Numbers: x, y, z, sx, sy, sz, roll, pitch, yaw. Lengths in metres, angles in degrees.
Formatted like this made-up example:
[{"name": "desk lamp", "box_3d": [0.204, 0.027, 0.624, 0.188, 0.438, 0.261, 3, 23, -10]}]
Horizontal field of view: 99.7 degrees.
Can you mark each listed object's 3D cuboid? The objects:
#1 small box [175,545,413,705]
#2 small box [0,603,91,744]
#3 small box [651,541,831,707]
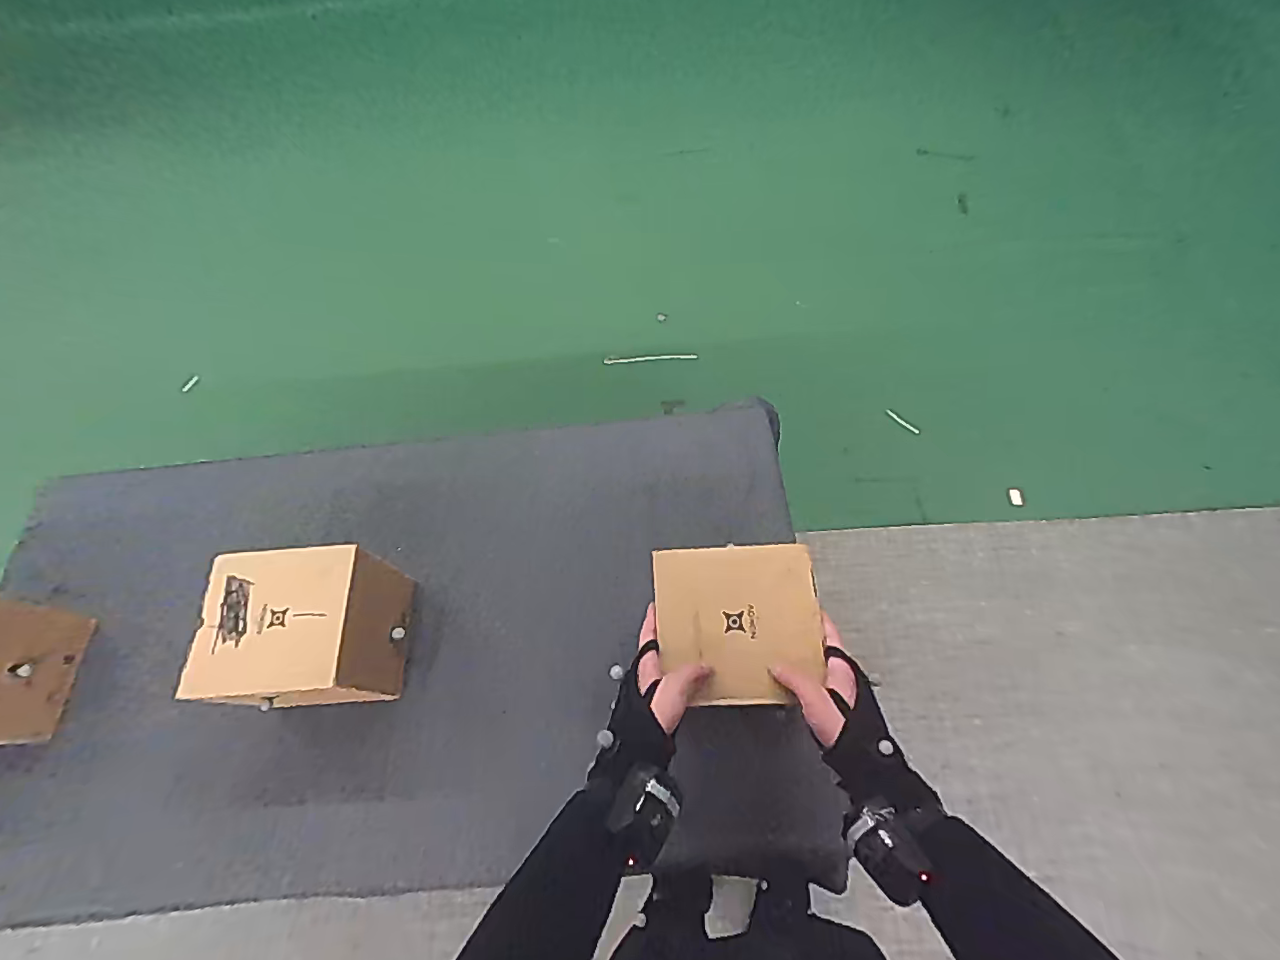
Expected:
[{"name": "small box", "box_3d": [-0.417, 0.190, 0.688, 0.179, 0.176, 0.168, -4, 65, 1]}, {"name": "small box", "box_3d": [-0.881, 0.248, 0.690, 0.179, 0.176, 0.168, -3, 65, 1]}, {"name": "small box", "box_3d": [0.107, 0.177, 0.641, 0.179, 0.176, 0.168, -4, 66, 4]}]
